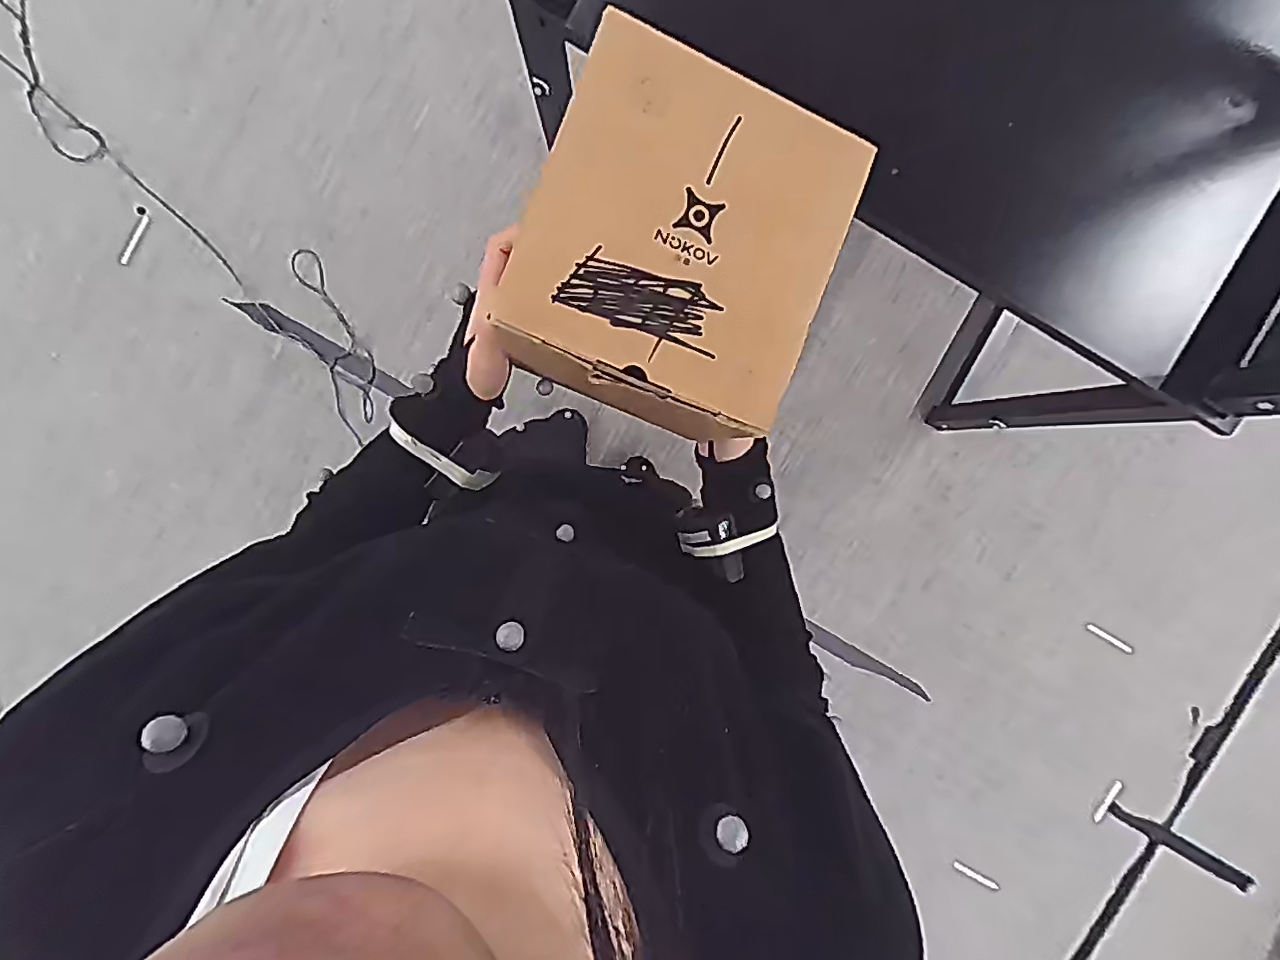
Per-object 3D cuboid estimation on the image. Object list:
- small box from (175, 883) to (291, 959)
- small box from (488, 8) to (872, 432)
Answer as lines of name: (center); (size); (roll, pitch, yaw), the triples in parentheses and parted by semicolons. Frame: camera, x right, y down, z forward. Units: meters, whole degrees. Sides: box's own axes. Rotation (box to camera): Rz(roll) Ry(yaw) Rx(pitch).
small box: (-0.982, 1.127, 1.286); (0.168, 0.176, 0.179); (32, 91, -4)
small box: (0.015, -0.140, 0.370); (0.168, 0.176, 0.179); (21, 89, -9)
